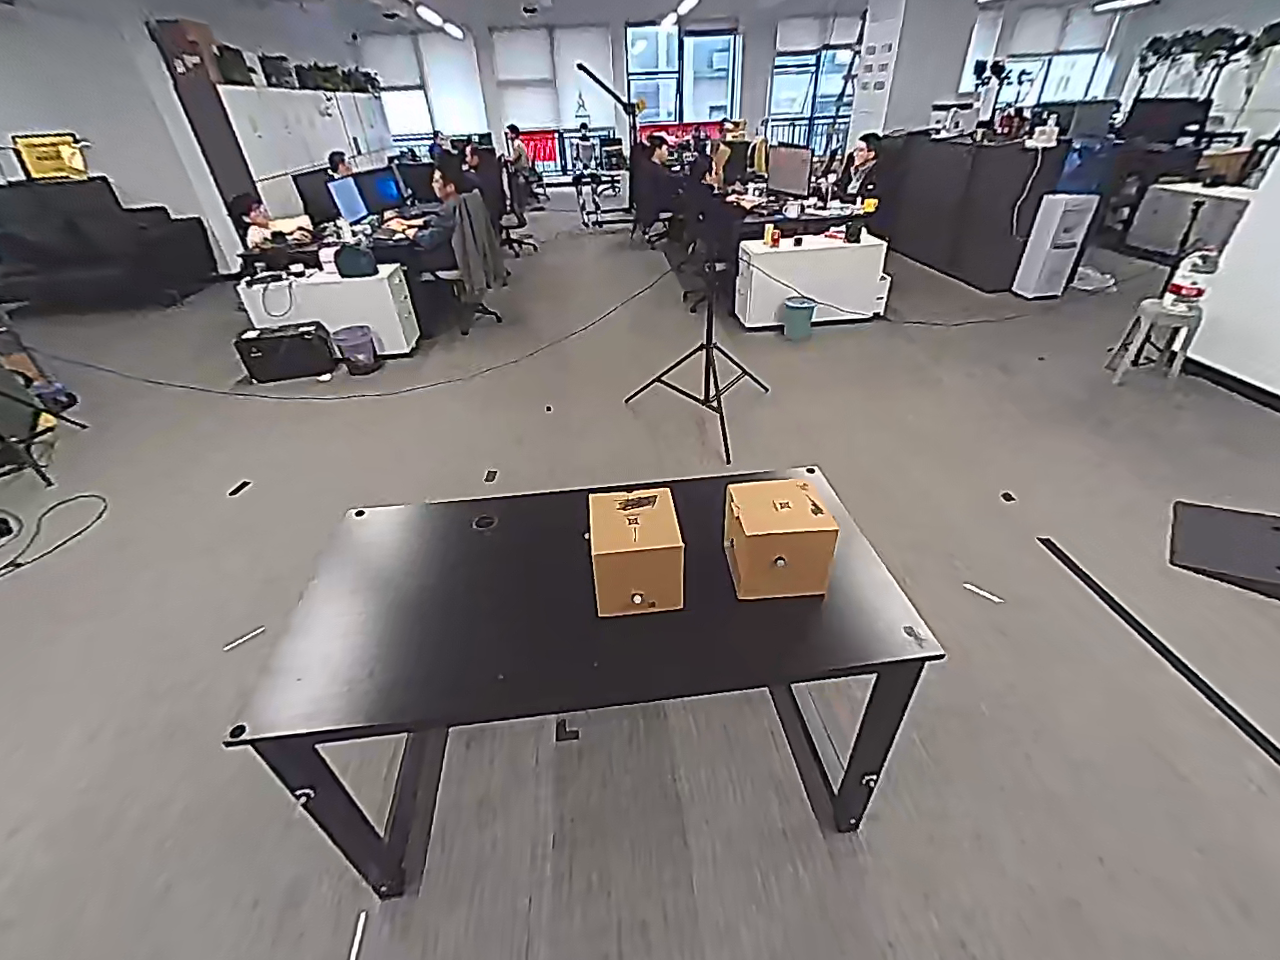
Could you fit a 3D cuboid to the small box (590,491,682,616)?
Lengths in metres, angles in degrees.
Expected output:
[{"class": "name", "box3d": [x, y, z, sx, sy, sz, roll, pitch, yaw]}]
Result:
[{"class": "small box", "box3d": [-0.011, 0.143, 1.069, 0.168, 0.176, 0.179, -5, 35, -3]}]

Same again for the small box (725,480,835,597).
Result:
[{"class": "small box", "box3d": [0.269, 0.119, 1.083, 0.179, 0.176, 0.168, -5, 35, -1]}]
